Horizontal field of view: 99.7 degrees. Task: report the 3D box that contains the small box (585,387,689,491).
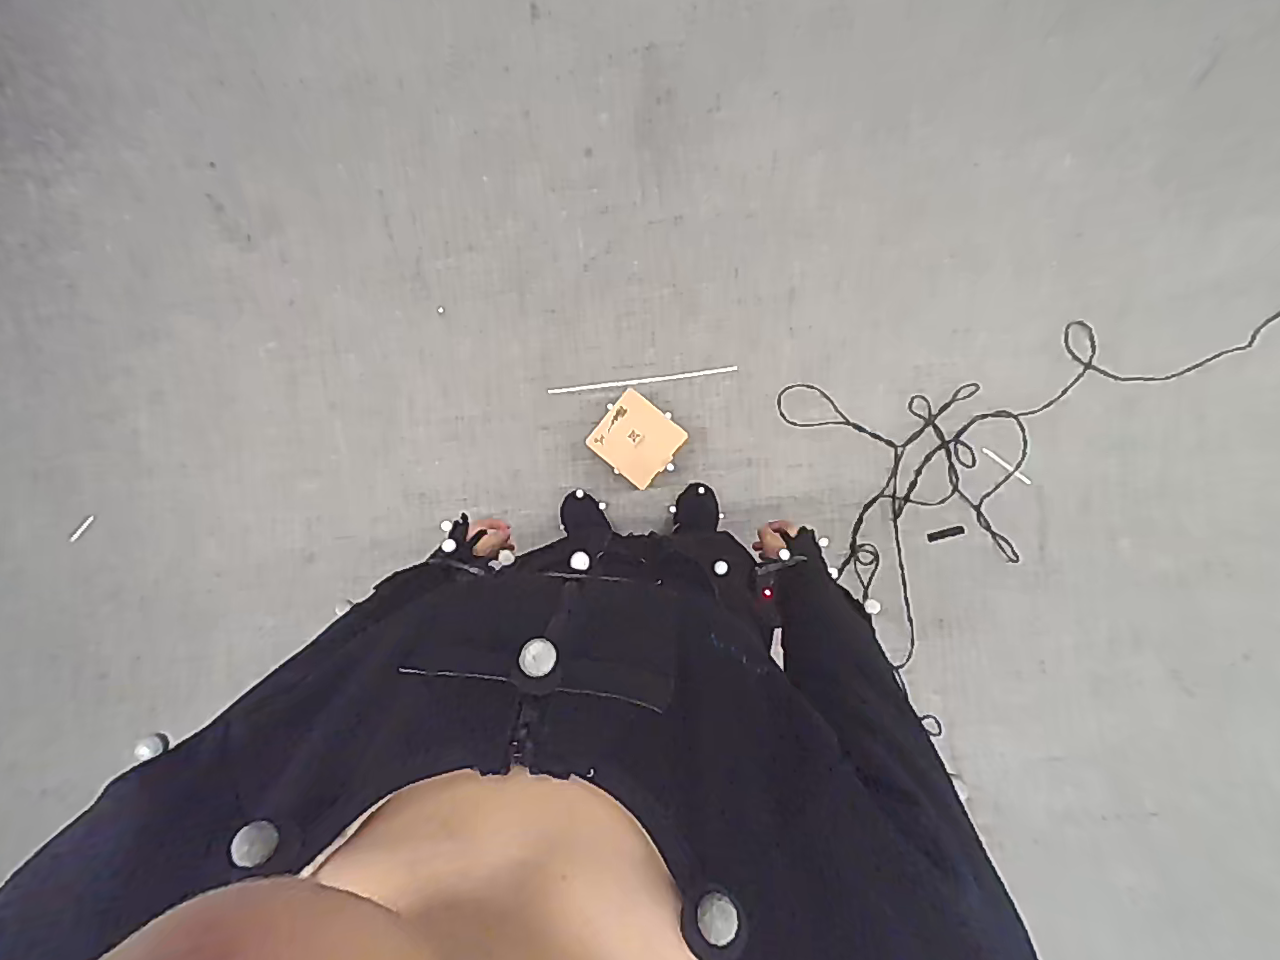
[{"bbox_3d":[0.000,-0.095,1.276,0.179,0.176,0.168,40,94,2],"label":"small box"}]
